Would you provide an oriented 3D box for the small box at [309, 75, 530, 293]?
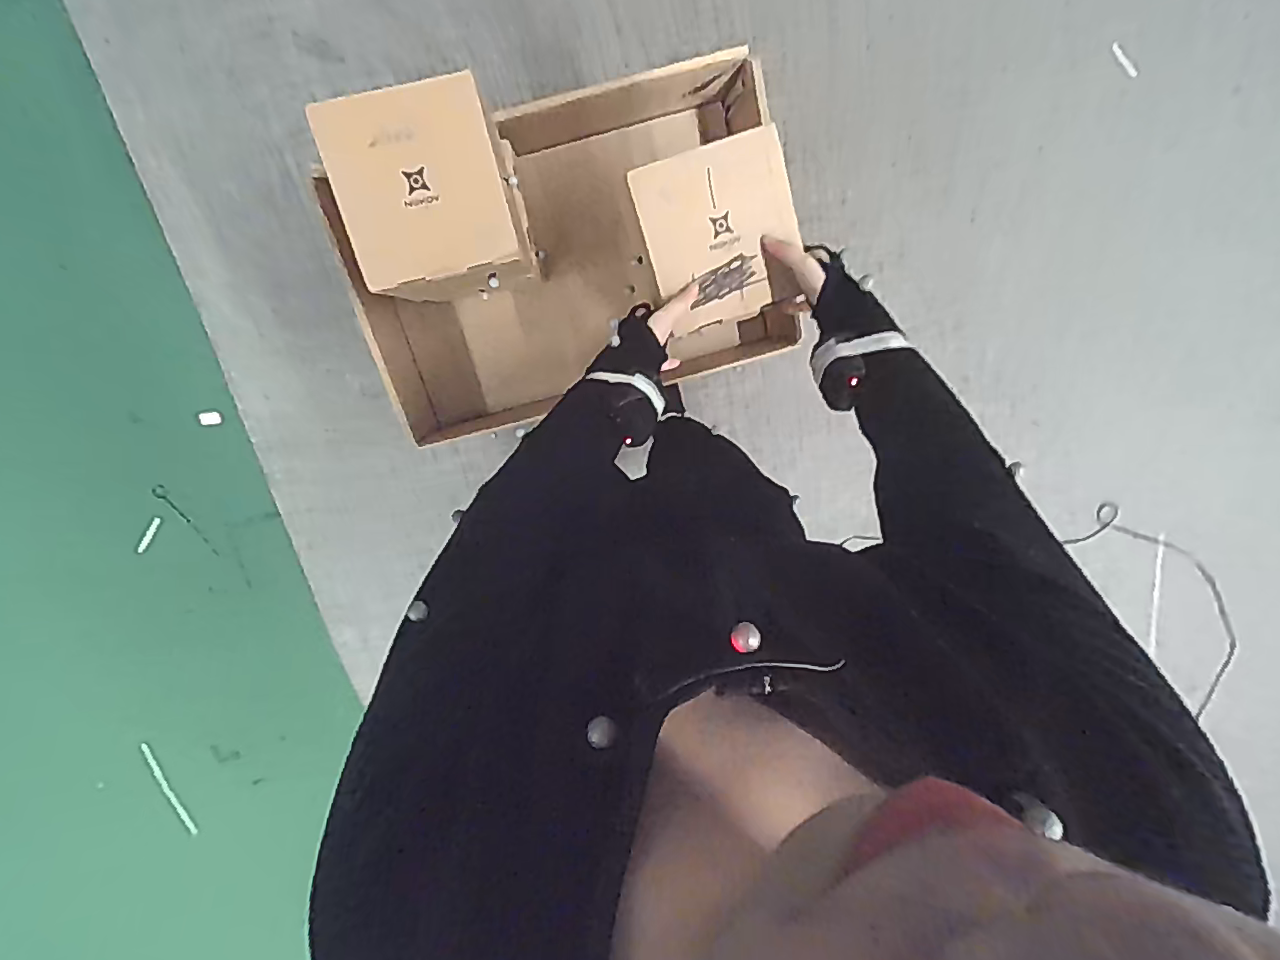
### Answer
[{"bbox_3d":[-0.230,-0.317,0.620,0.168,0.176,0.179,-13,107,-3],"label":"small box"}]

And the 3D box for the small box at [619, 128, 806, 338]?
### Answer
[{"bbox_3d":[0.079,-0.284,0.658,0.168,0.176,0.179,-18,106,0],"label":"small box"}]
